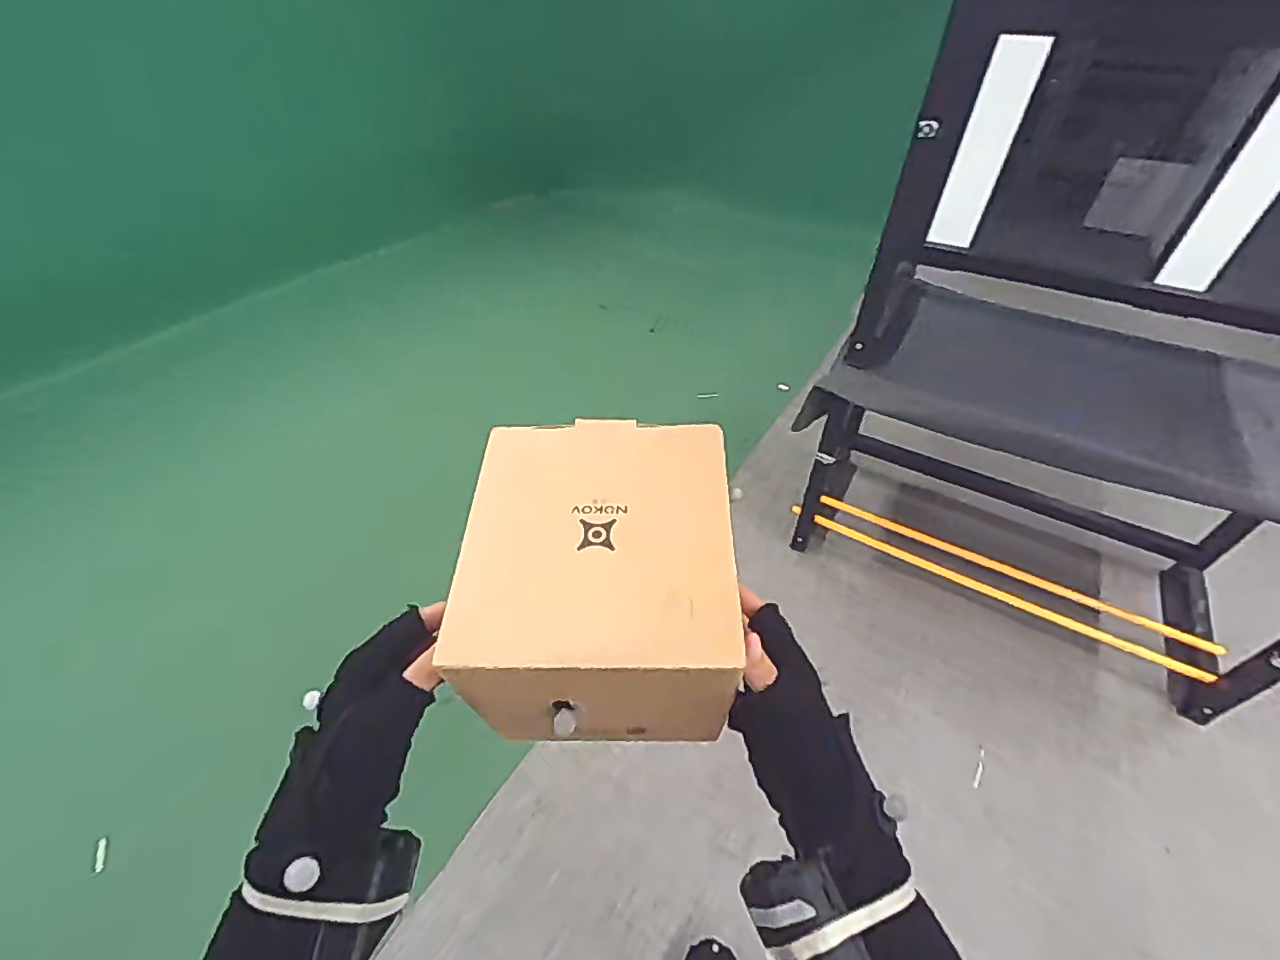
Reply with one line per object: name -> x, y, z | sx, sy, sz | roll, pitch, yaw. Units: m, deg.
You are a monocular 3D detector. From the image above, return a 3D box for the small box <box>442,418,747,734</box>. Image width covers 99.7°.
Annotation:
small box -> -0.019, 0.075, 0.395 | 0.168, 0.176, 0.179 | 0, 51, 2
